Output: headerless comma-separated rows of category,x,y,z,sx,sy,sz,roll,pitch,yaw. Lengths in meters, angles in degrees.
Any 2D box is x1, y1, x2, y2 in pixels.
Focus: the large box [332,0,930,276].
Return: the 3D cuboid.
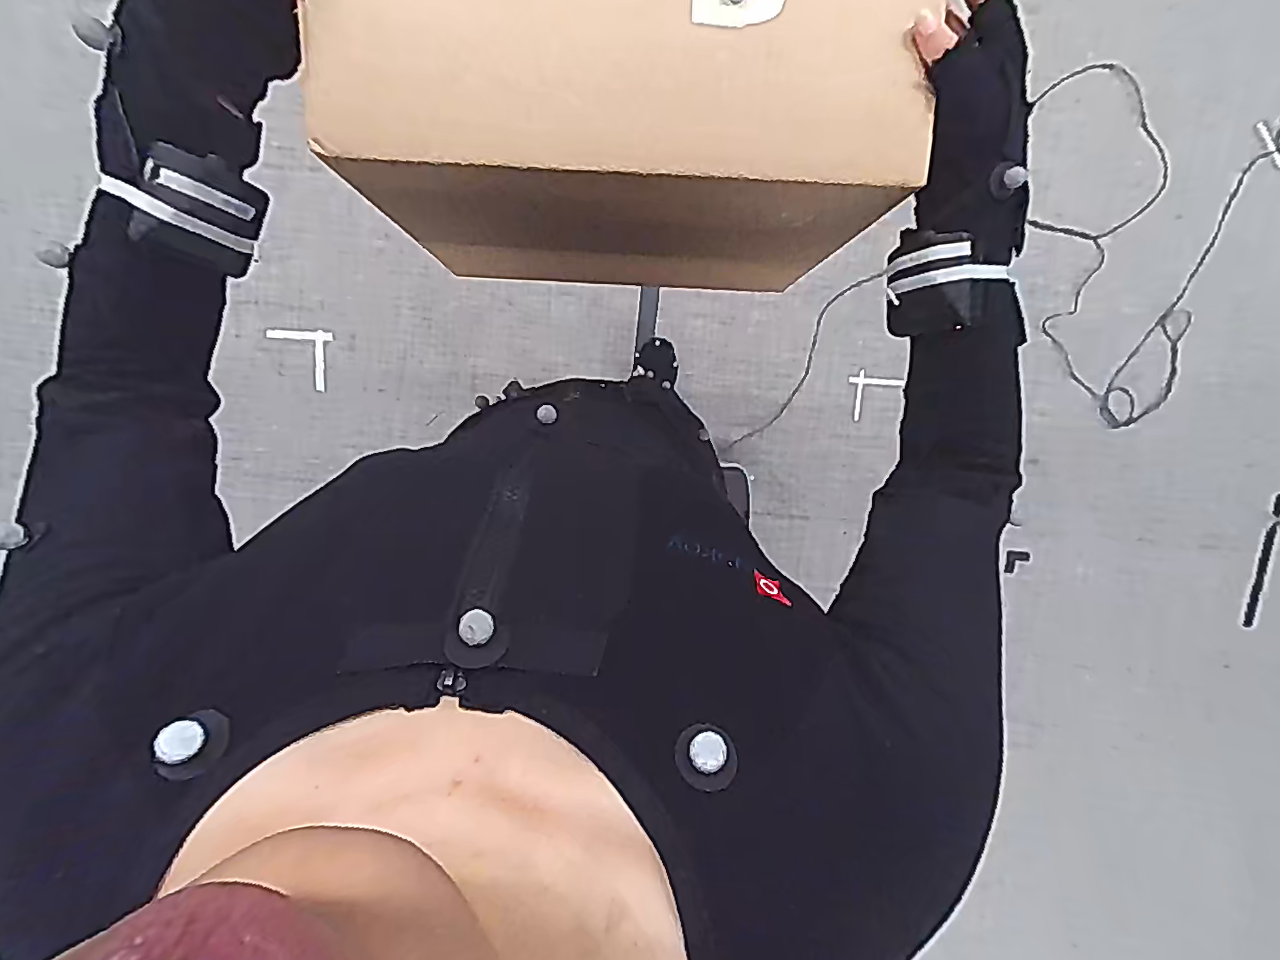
large box,-0.009,-0.388,0.499,0.408,0.320,0.320,1,97,-3
